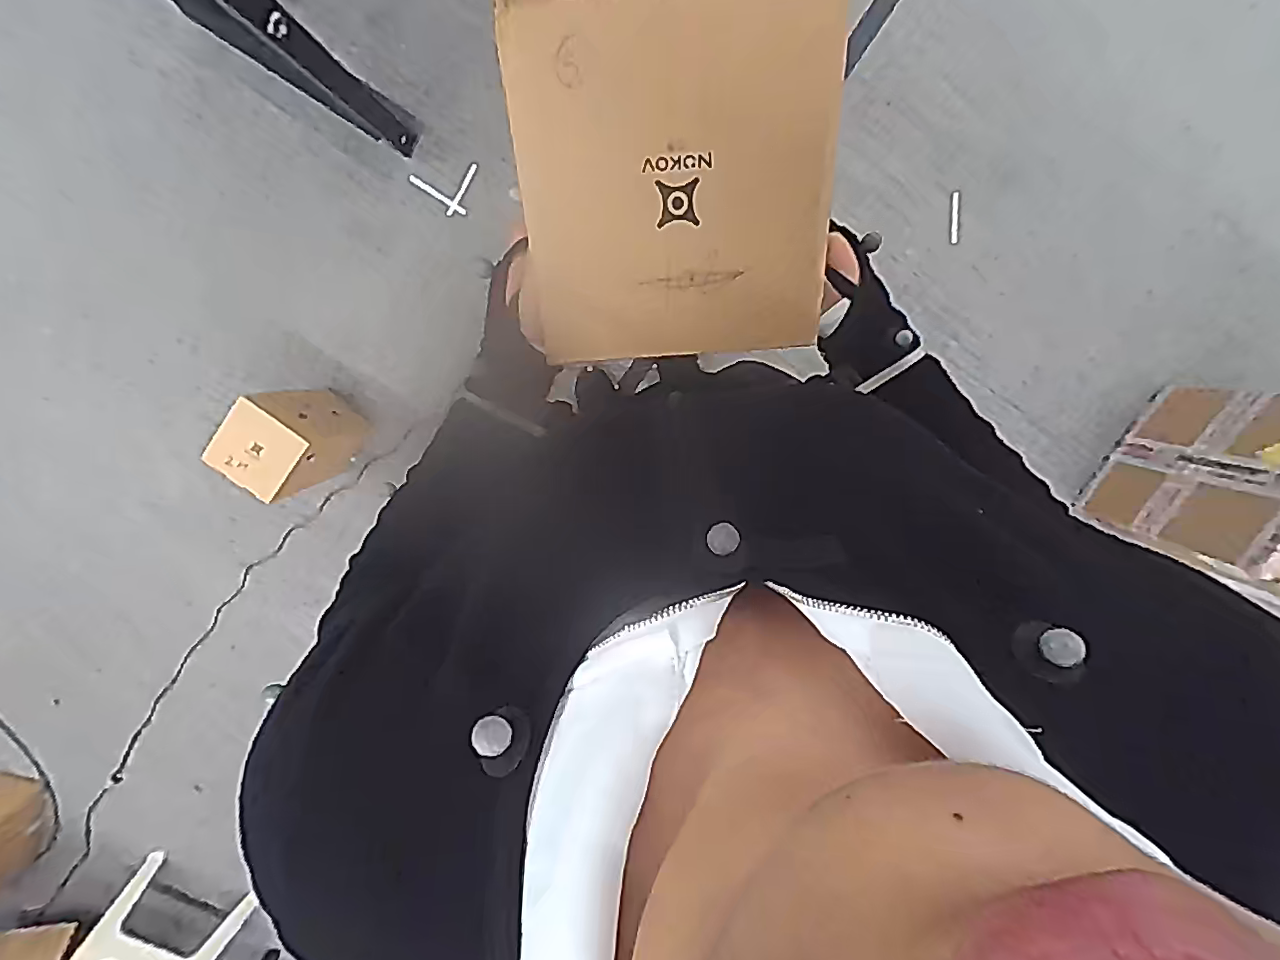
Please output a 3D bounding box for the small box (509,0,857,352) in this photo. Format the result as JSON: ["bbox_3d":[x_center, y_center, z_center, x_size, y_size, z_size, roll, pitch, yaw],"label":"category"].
[{"bbox_3d":[0.021,-0.197,0.356,0.168,0.176,0.179,-3,121,1],"label":"small box"}]

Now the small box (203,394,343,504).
[{"bbox_3d":[-0.813,-0.078,1.221,0.168,0.176,0.179,38,100,-8],"label":"small box"}]

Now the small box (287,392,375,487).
[{"bbox_3d":[-0.825,-0.112,1.382,0.179,0.176,0.168,41,100,-10],"label":"small box"}]
